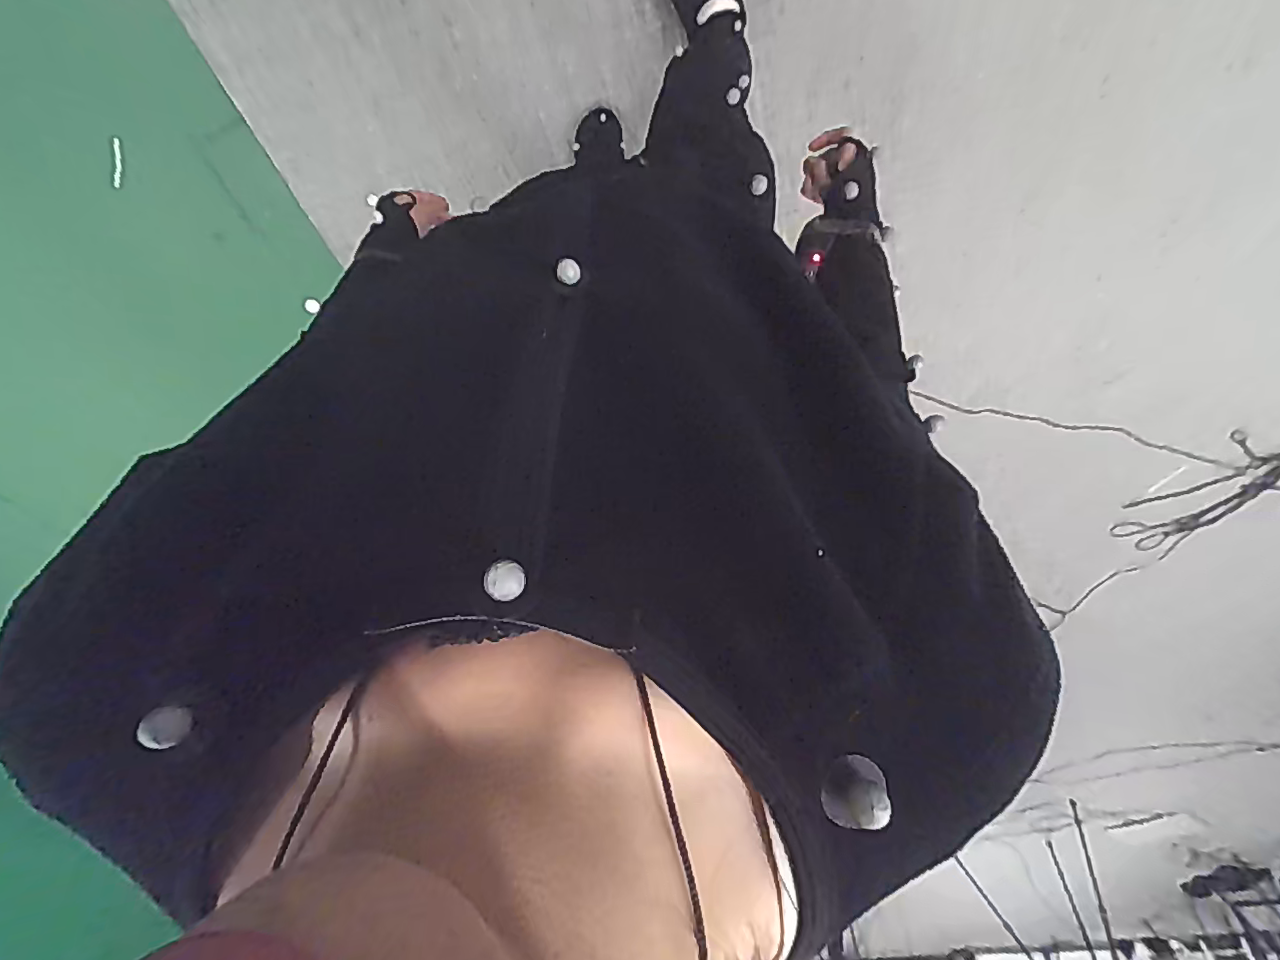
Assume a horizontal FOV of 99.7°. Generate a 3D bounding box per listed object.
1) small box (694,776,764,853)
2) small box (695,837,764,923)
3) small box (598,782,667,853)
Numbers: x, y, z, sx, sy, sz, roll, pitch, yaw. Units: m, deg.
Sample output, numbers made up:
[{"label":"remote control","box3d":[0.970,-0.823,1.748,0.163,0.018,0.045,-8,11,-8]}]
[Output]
[{"label":"small box","box3d":[0.272,1.038,1.671,0.168,0.176,0.179,-17,129,15]},{"label":"small box","box3d":[0.250,1.134,1.536,0.179,0.176,0.168,-6,132,5]},{"label":"small box","box3d":[-0.019,1.083,1.712,0.179,0.176,0.168,-15,130,13]}]
